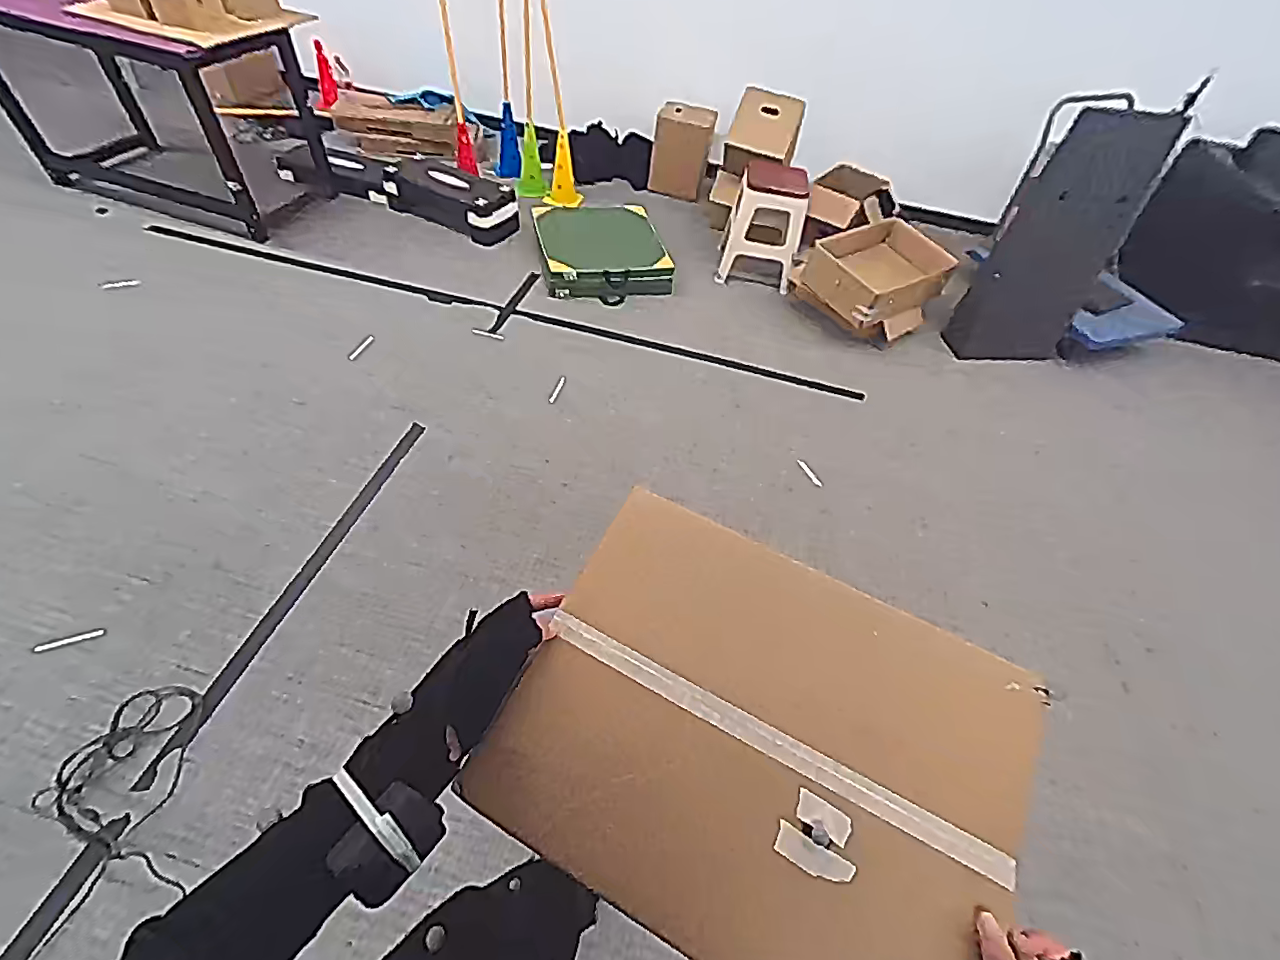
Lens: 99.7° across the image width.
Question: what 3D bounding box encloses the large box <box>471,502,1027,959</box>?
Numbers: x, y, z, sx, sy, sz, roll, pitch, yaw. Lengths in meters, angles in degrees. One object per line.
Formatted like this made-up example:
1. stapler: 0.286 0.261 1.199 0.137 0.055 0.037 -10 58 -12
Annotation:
1. large box: 0.101 0.288 0.595 0.408 0.320 0.320 26 66 13
